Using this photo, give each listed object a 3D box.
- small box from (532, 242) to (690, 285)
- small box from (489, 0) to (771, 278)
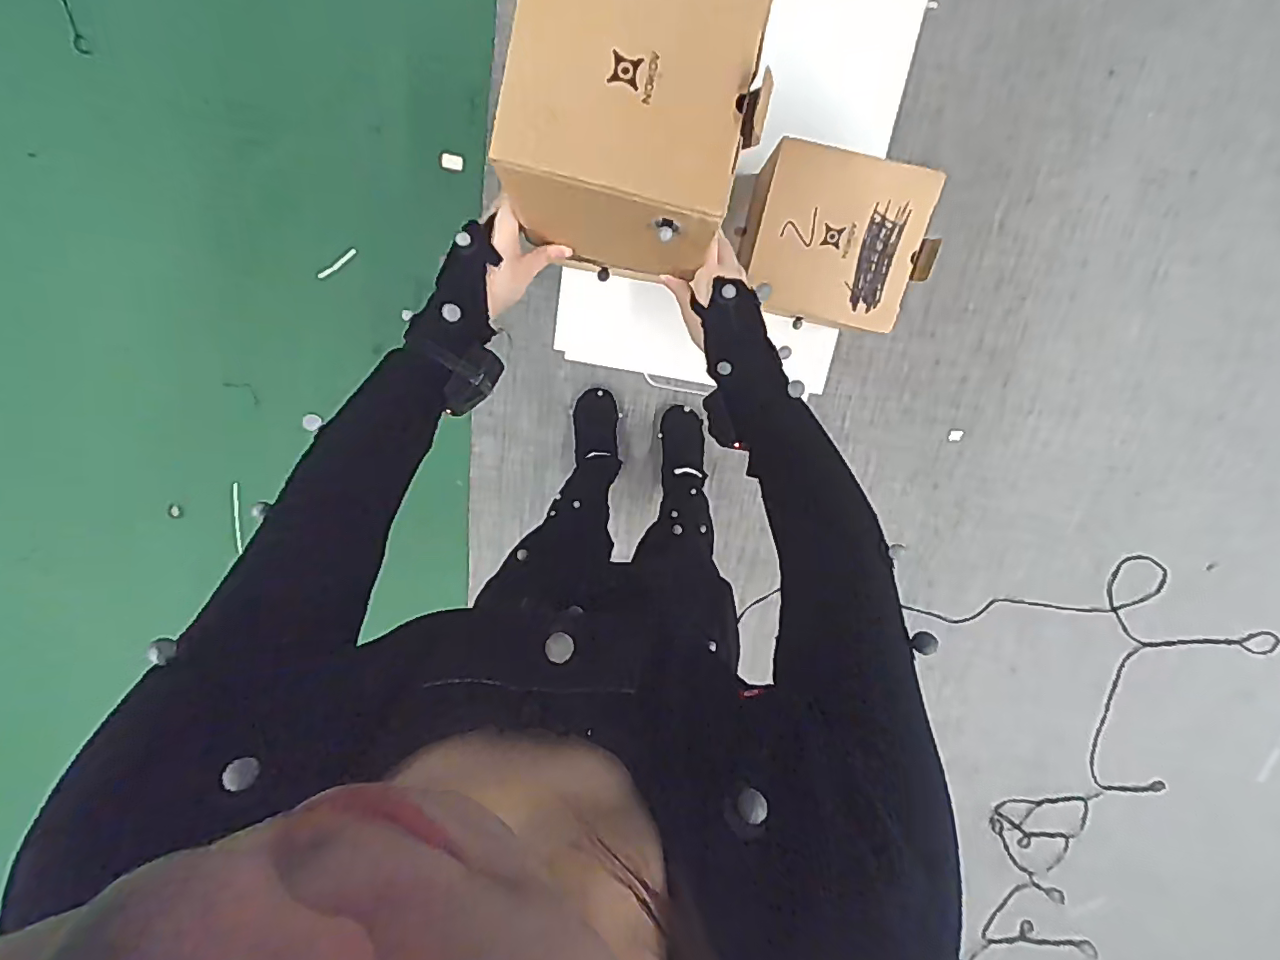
[{"bbox_3d":[-0.018,-0.331,0.641,0.179,0.176,0.168,9,108,-3],"label":"small box"},{"bbox_3d":[-0.012,-0.292,0.465,0.179,0.176,0.168,12,94,-6],"label":"small box"}]
